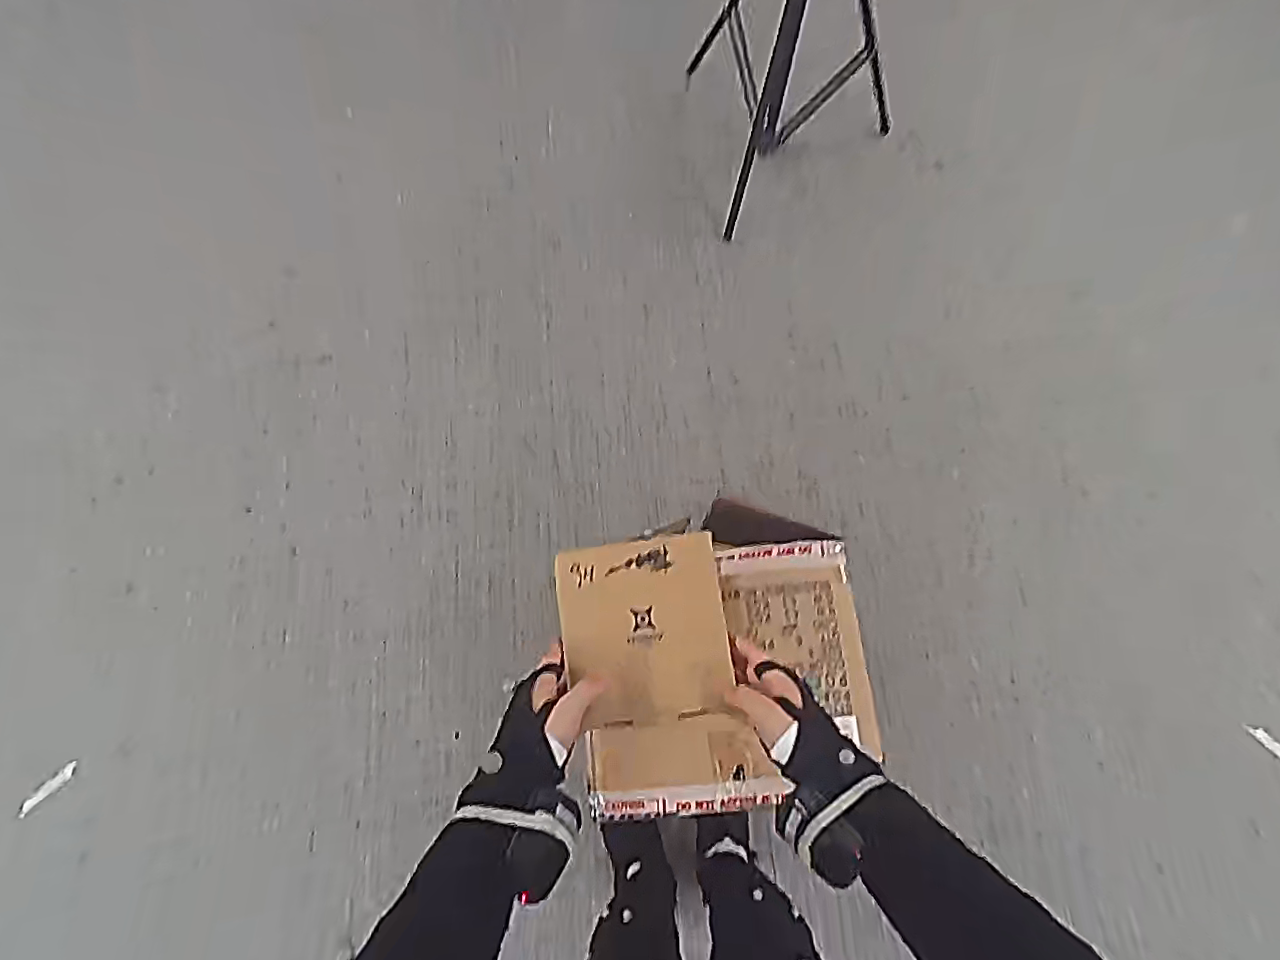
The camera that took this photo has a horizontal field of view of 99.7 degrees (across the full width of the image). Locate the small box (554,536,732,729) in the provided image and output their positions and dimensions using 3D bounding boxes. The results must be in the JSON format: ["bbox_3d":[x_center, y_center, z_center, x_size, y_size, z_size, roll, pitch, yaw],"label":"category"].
[{"bbox_3d":[0.006,0.165,0.620,0.168,0.176,0.179,-8,78,2],"label":"small box"}]
